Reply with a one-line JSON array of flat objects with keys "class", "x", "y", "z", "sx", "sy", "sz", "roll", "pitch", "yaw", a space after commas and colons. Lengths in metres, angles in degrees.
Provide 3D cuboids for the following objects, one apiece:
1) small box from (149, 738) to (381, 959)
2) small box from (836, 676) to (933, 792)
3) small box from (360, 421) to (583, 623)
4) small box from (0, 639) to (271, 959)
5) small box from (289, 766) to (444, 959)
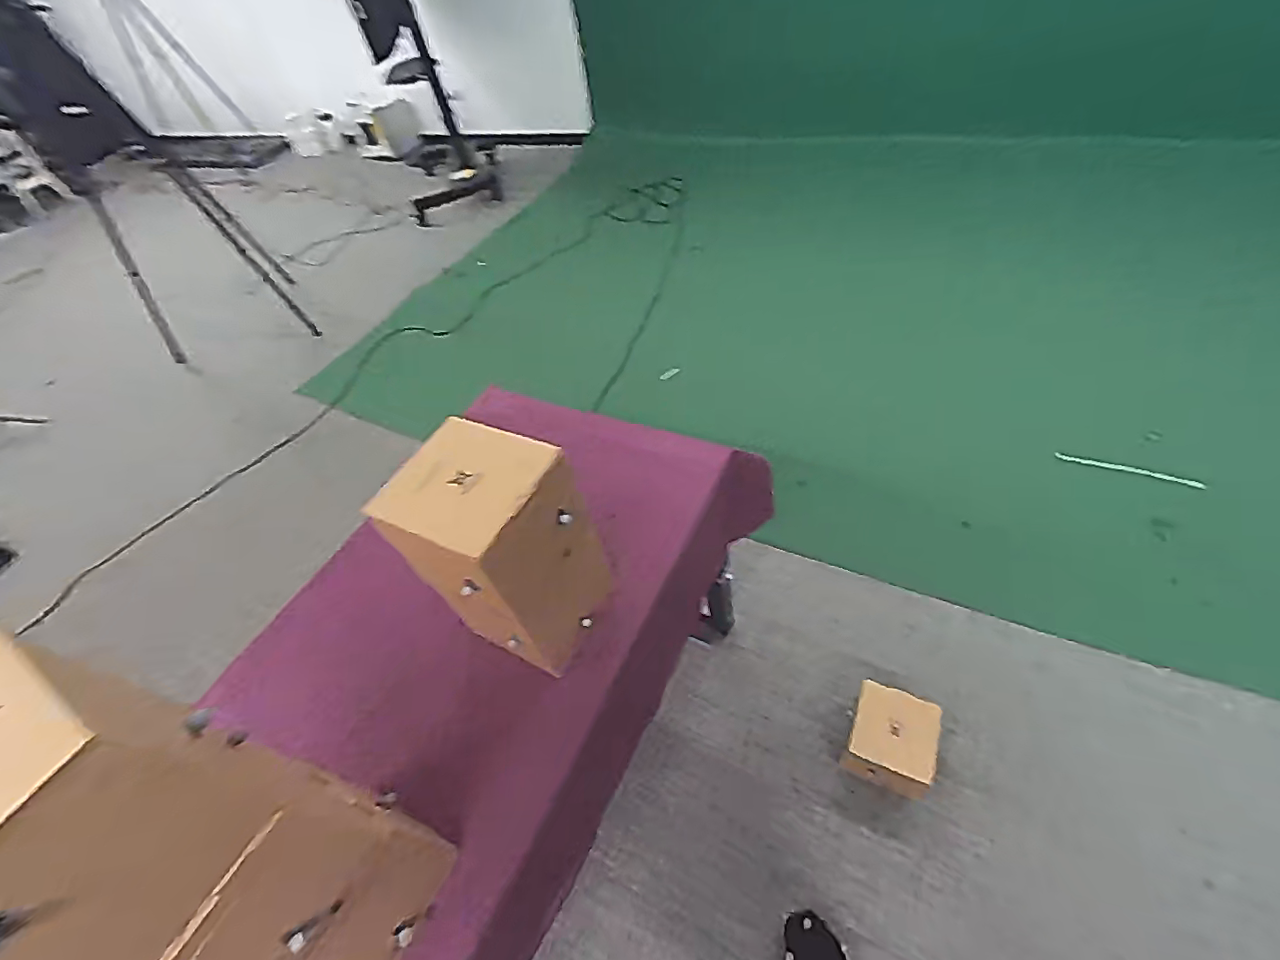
[{"class": "small box", "x": -0.375, "y": 0.348, "z": 0.470, "sx": 0.179, "sy": 0.176, "sz": 0.168, "roll": 16, "pitch": 56, "yaw": 23}, {"class": "small box", "x": 0.561, "y": 0.593, "z": 1.256, "sx": 0.168, "sy": 0.176, "sz": 0.179, "roll": 15, "pitch": 54, "yaw": 22}, {"class": "small box", "x": -0.194, "y": 0.056, "z": 0.678, "sx": 0.179, "sy": 0.176, "sz": 0.168, "roll": 16, "pitch": 55, "yaw": 23}, {"class": "small box", "x": -0.399, "y": 0.239, "z": 0.348, "sx": 0.168, "sy": 0.176, "sz": 0.179, "roll": 18, "pitch": 55, "yaw": 25}, {"class": "small box", "x": -0.345, "y": 0.454, "z": 0.592, "sx": 0.168, "sy": 0.176, "sz": 0.179, "roll": 14, "pitch": 54, "yaw": 23}]
